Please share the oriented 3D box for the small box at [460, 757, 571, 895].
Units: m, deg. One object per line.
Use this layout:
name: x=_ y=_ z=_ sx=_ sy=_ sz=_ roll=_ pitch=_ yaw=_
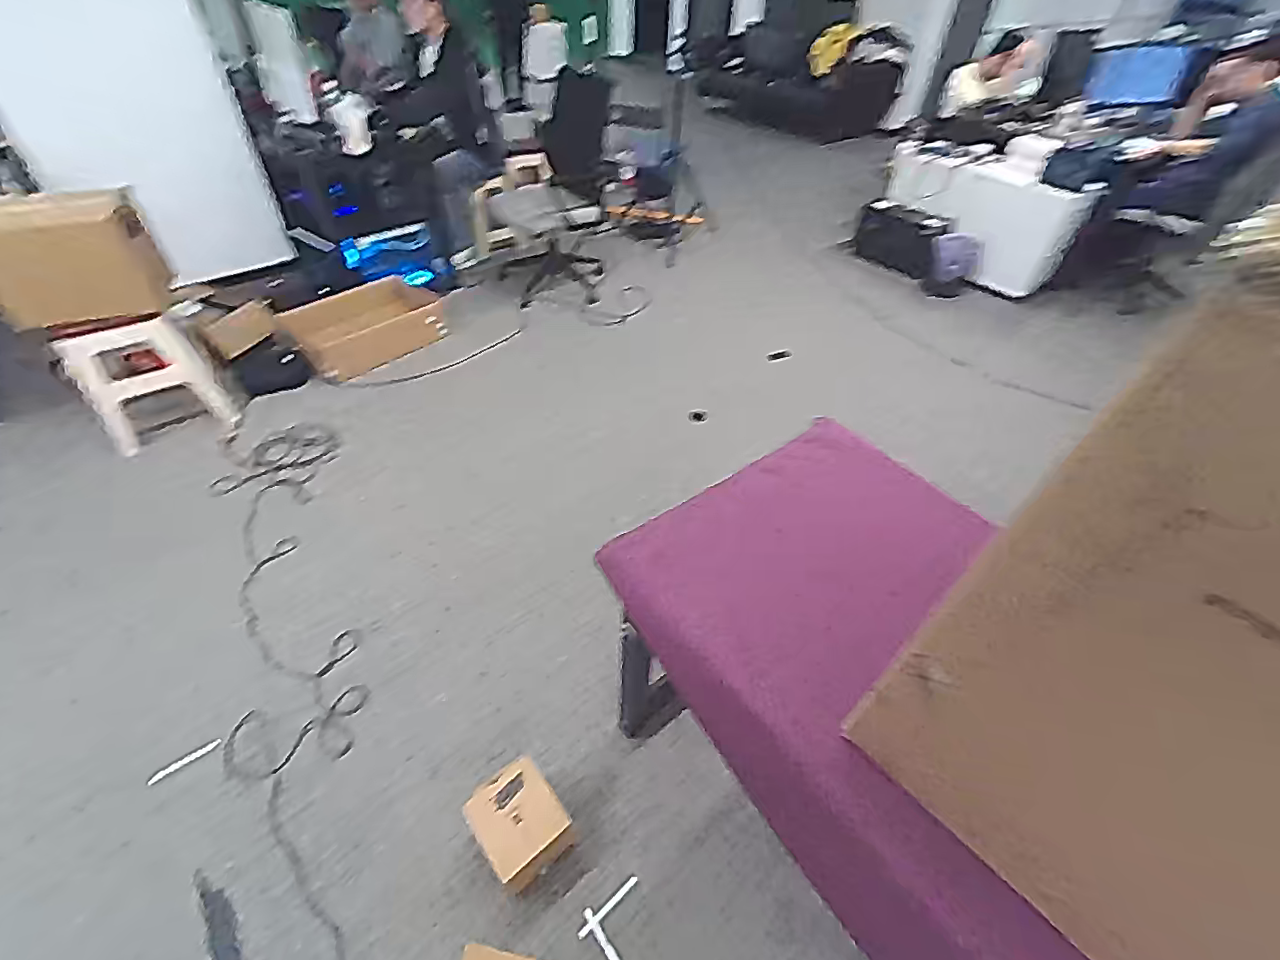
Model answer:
small box: x=-0.265 y=0.753 z=1.174 sx=0.168 sy=0.176 sz=0.179 roll=-30 pitch=55 yaw=-29
